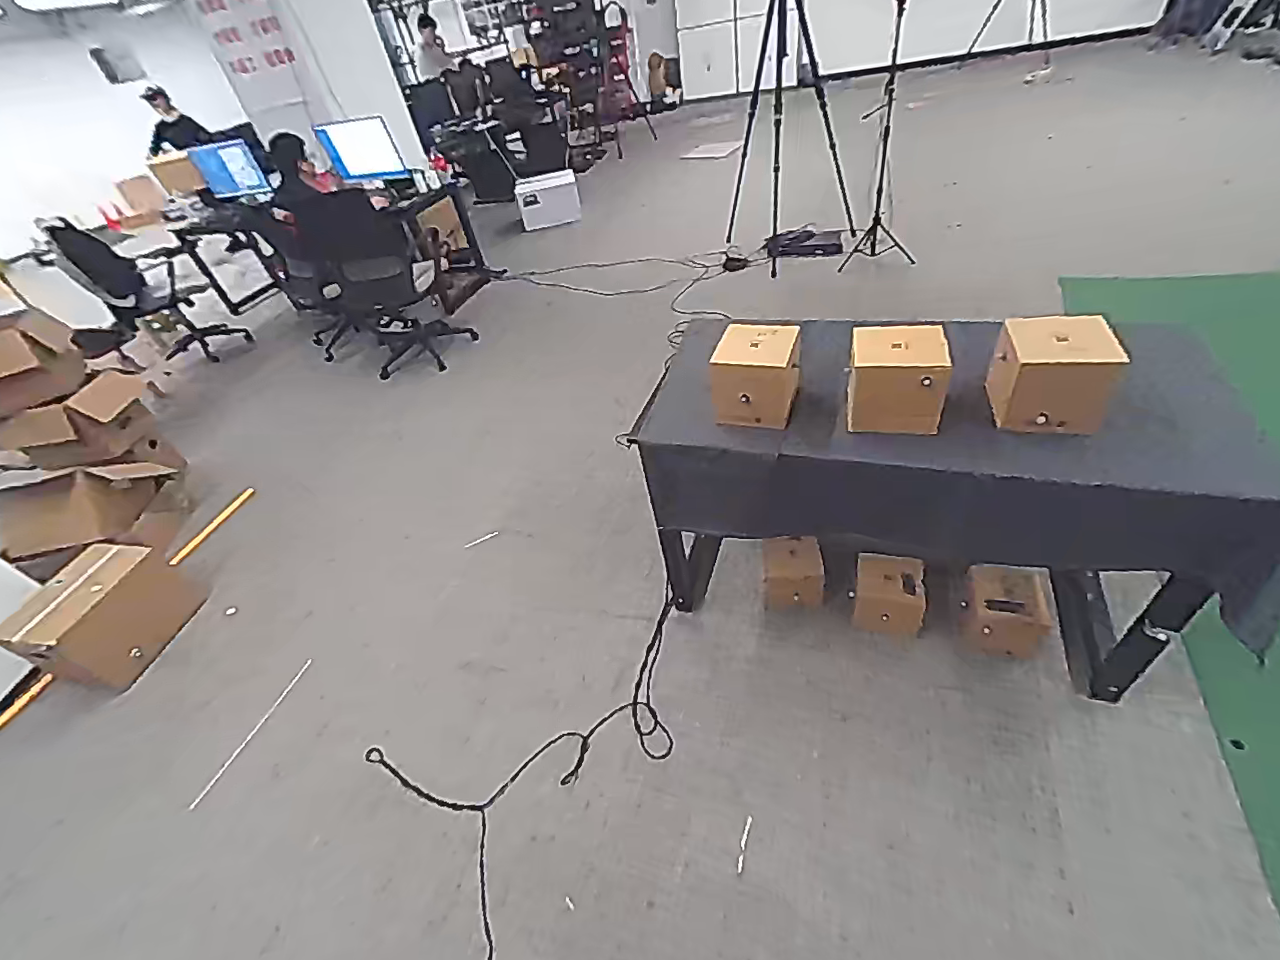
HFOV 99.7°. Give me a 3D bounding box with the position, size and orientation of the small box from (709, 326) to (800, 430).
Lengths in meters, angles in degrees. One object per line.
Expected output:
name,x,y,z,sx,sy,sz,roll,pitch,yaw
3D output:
small box,0.268,-0.235,1.240,0.168,0.176,0.179,9,46,22

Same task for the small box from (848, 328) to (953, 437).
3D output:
small box,0.540,-0.205,1.146,0.179,0.176,0.168,4,44,17

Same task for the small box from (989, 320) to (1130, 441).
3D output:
small box,0.813,-0.200,1.072,0.168,0.176,0.179,5,44,20

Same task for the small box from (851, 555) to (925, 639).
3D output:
small box,0.724,0.345,1.587,0.179,0.176,0.168,5,44,21
